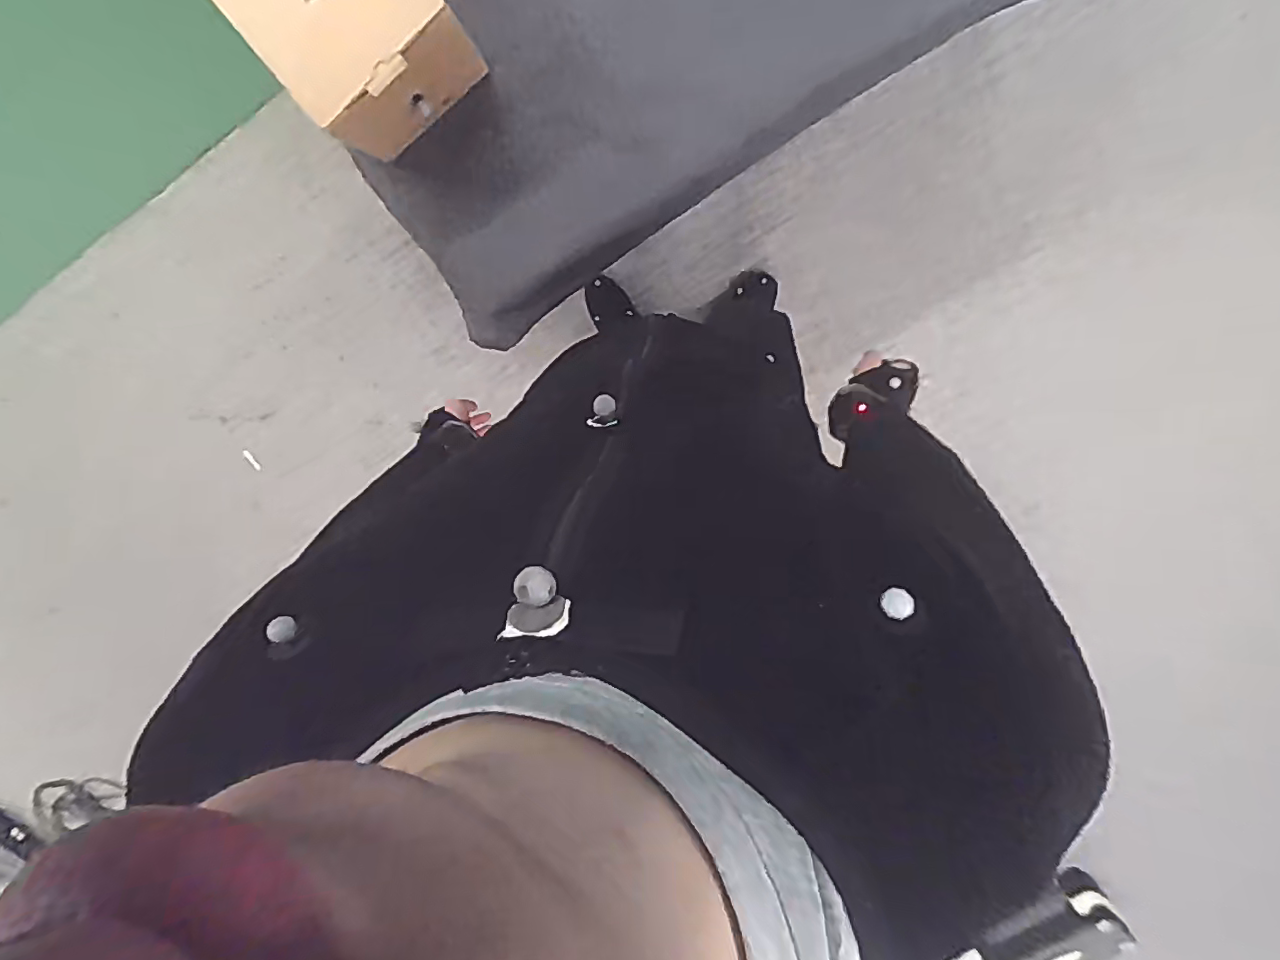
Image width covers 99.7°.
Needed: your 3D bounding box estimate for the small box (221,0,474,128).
[{"bbox_3d":[-0.292,-0.482,0.531,0.168,0.176,0.179,-34,111,12],"label":"small box"}]
